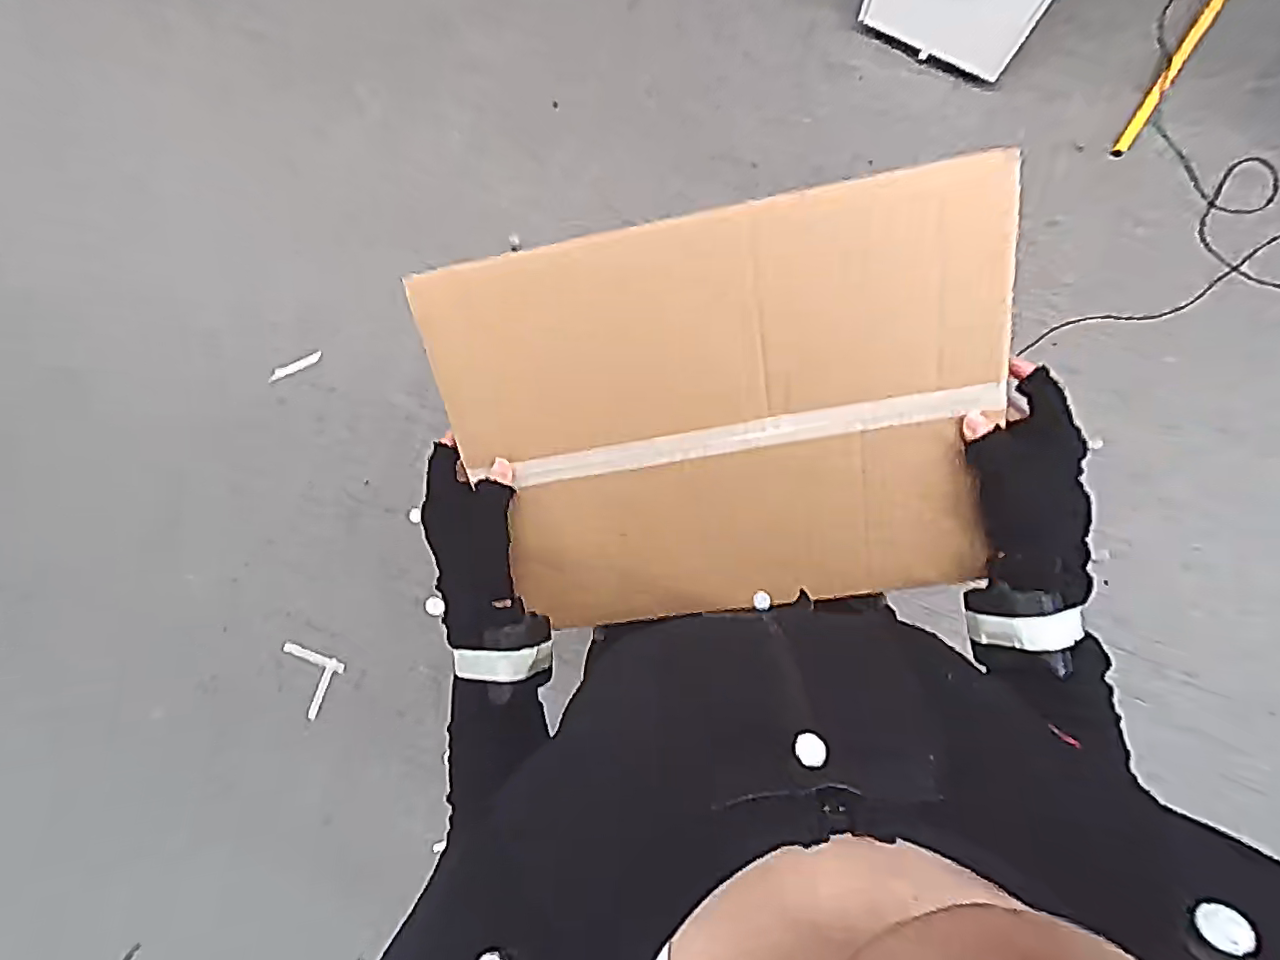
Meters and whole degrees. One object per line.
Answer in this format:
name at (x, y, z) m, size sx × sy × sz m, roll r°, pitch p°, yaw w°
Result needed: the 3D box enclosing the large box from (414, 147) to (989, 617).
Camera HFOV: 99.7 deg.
large box at (0.063, -0.100, 0.558) m, size 0.408 × 0.320 × 0.320 m, roll -9°, pitch 114°, yaw 8°
